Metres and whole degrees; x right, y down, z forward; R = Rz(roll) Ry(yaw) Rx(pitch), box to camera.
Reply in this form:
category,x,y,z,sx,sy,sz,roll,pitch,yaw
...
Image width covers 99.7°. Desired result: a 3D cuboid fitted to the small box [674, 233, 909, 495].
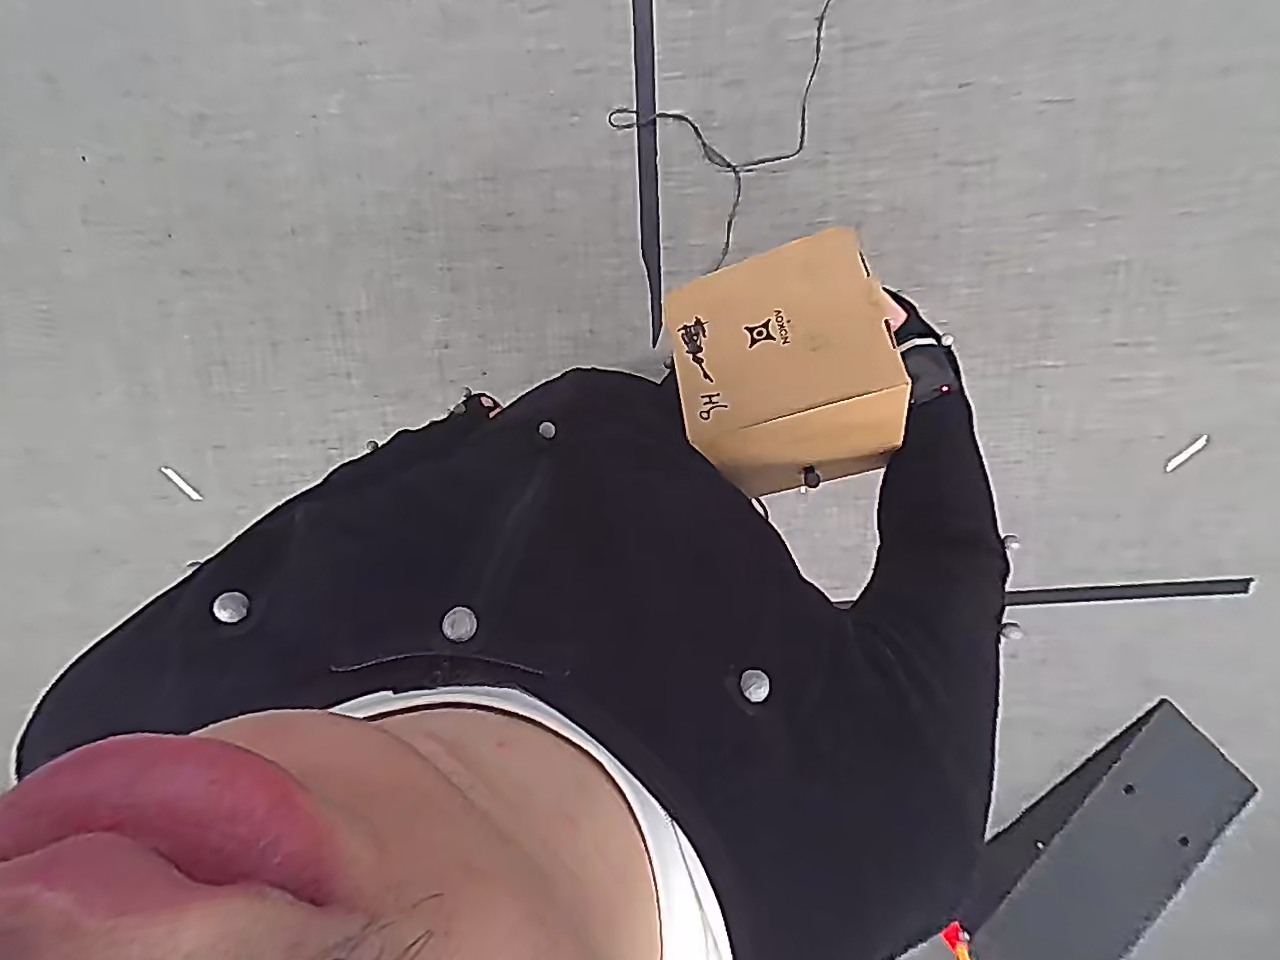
category,x,y,z,sx,sy,sz,roll,pitch,yaw
small box,0.147,-0.101,0.542,0.179,0.176,0.168,-14,64,16
